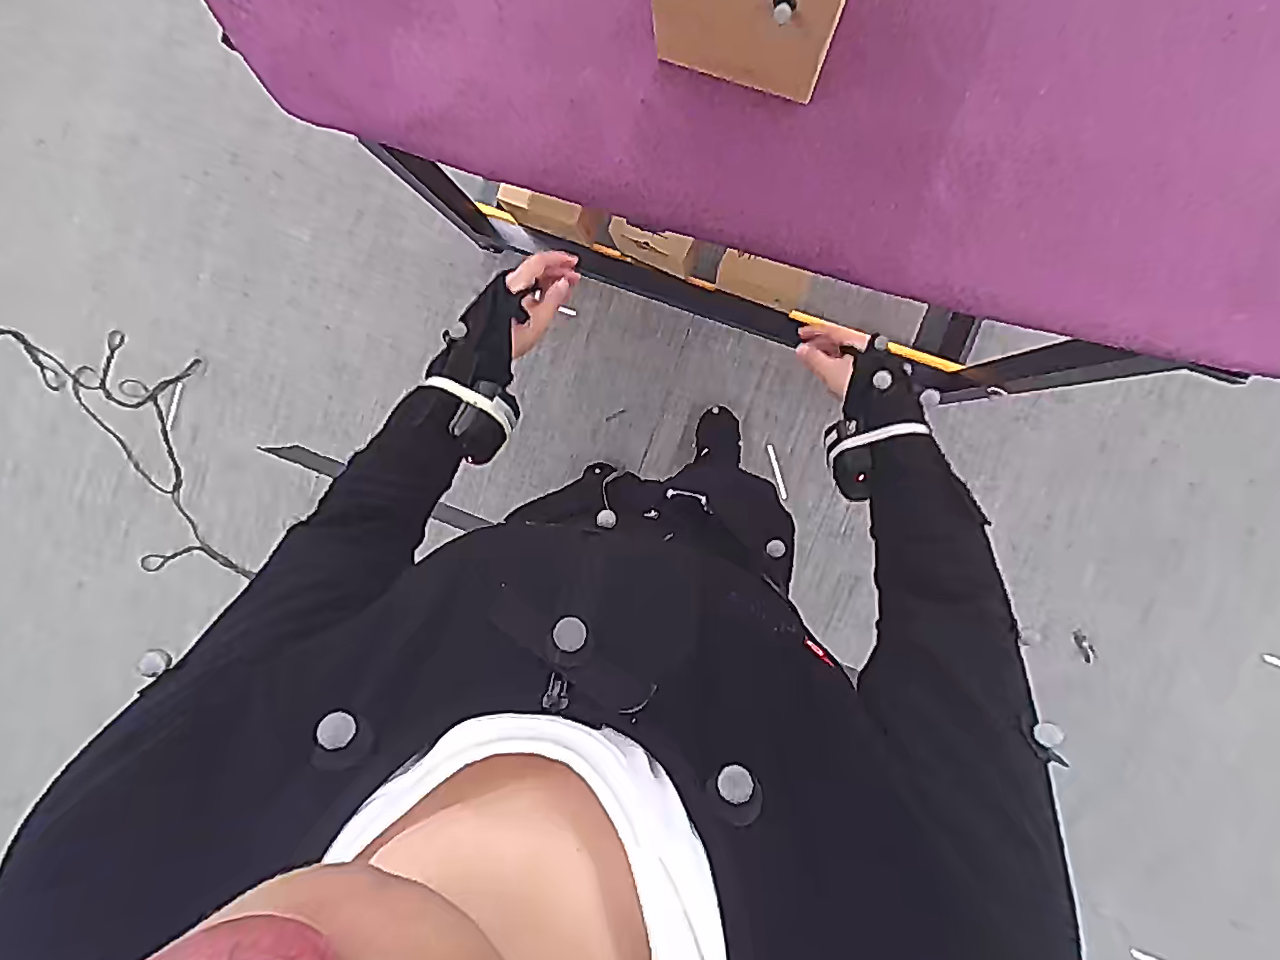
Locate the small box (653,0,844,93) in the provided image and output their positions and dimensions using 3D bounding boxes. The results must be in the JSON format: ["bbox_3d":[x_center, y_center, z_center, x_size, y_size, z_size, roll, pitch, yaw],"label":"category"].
[{"bbox_3d":[0.119,-0.505,0.498,0.179,0.176,0.168,20,95,4],"label":"small box"}]
